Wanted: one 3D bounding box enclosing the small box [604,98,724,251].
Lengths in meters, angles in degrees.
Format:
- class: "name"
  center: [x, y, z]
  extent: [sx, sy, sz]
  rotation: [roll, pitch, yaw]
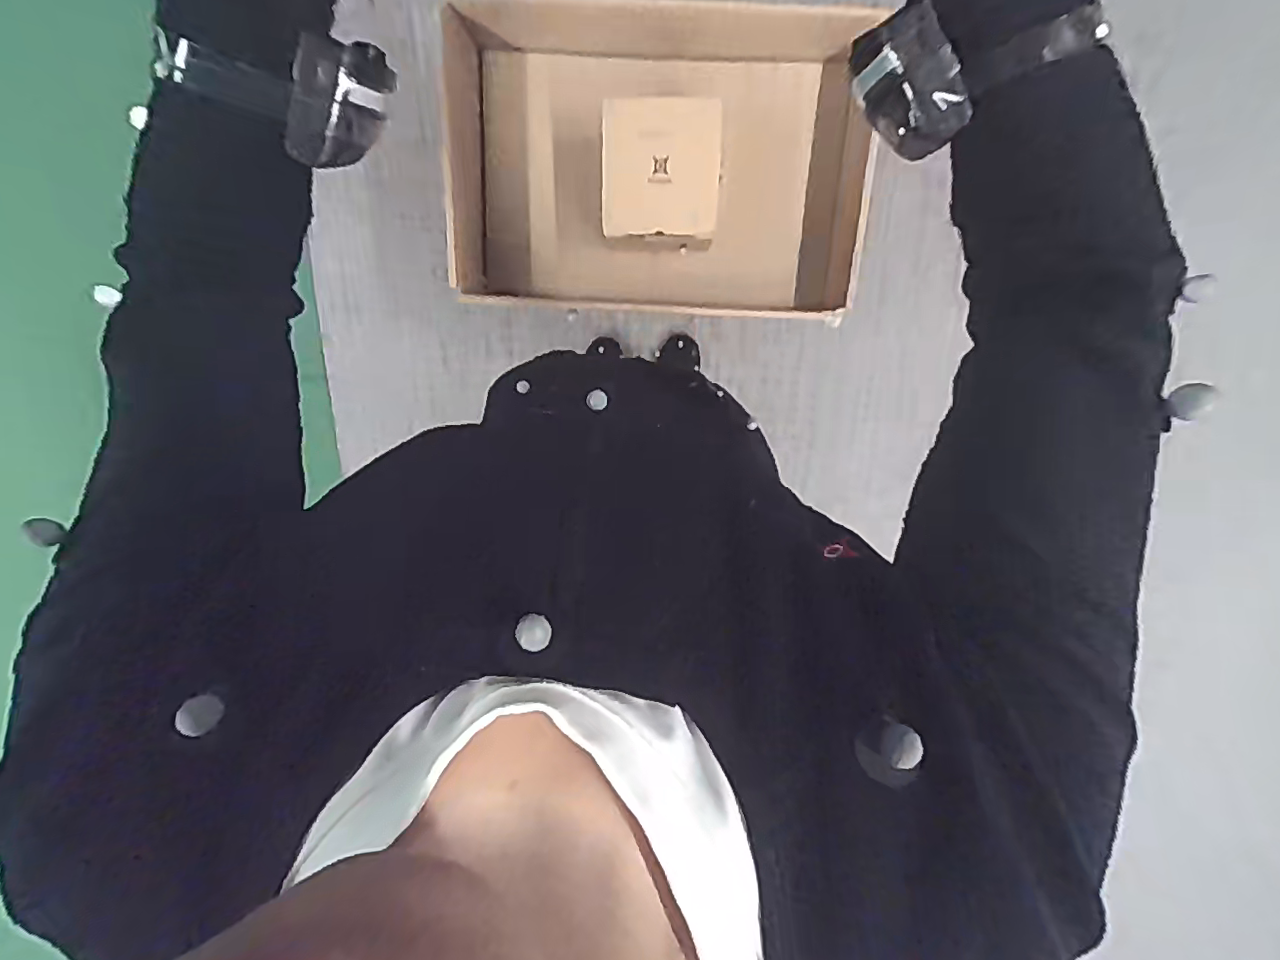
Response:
- class: "small box"
  center: [0.035, -0.457, 0.835]
  extent: [0.168, 0.176, 0.179]
  rotation: [1, 105, 1]
